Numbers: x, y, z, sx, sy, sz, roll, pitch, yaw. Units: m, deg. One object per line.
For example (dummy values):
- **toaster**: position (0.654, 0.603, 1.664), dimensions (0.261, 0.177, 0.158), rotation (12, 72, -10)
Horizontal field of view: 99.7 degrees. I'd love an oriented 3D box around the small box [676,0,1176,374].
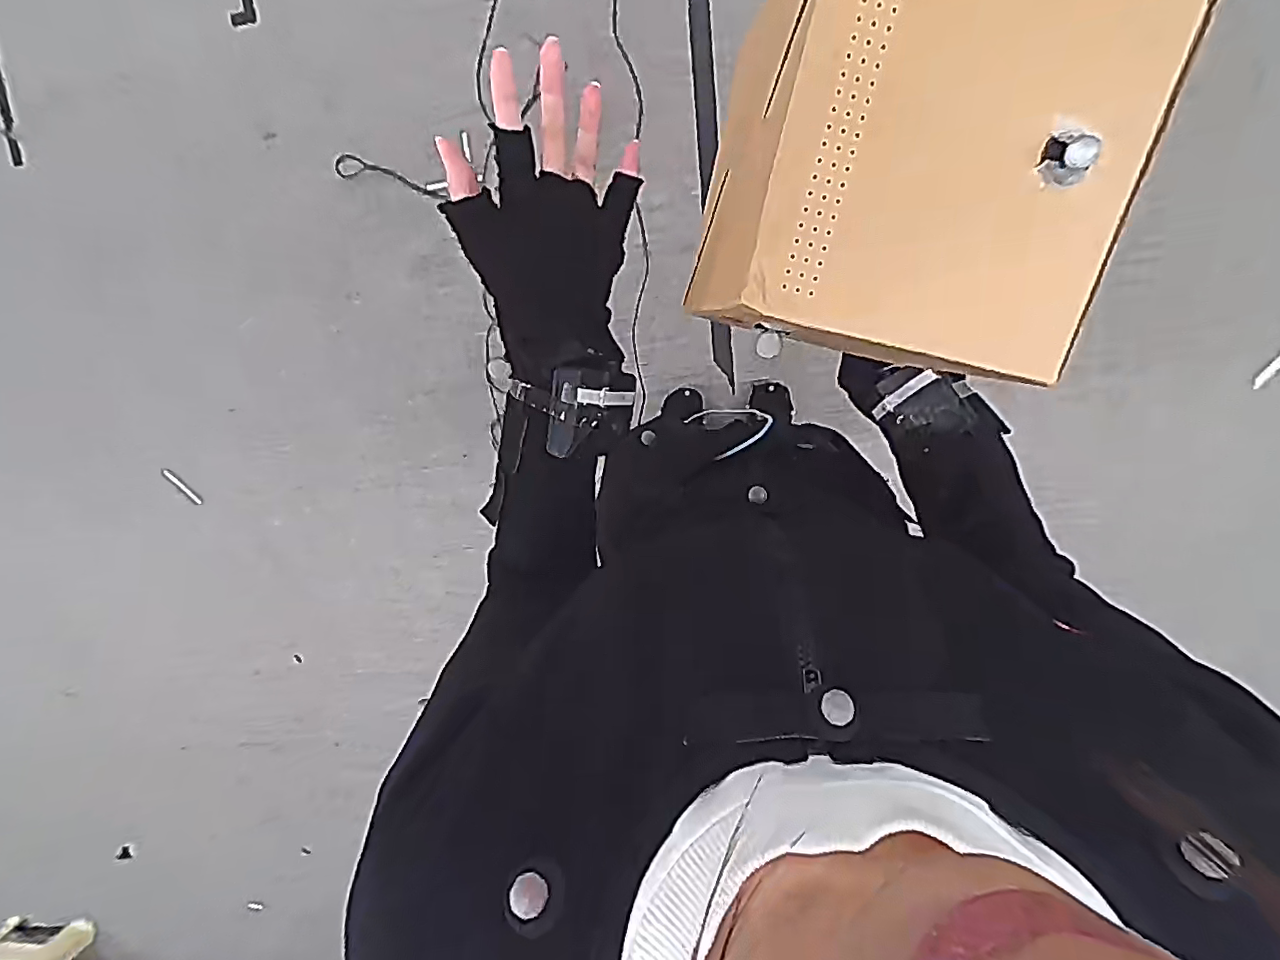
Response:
- **small box**: position (0.129, -0.169, 0.318), dimensions (0.176, 0.168, 0.179), rotation (11, 105, -7)
